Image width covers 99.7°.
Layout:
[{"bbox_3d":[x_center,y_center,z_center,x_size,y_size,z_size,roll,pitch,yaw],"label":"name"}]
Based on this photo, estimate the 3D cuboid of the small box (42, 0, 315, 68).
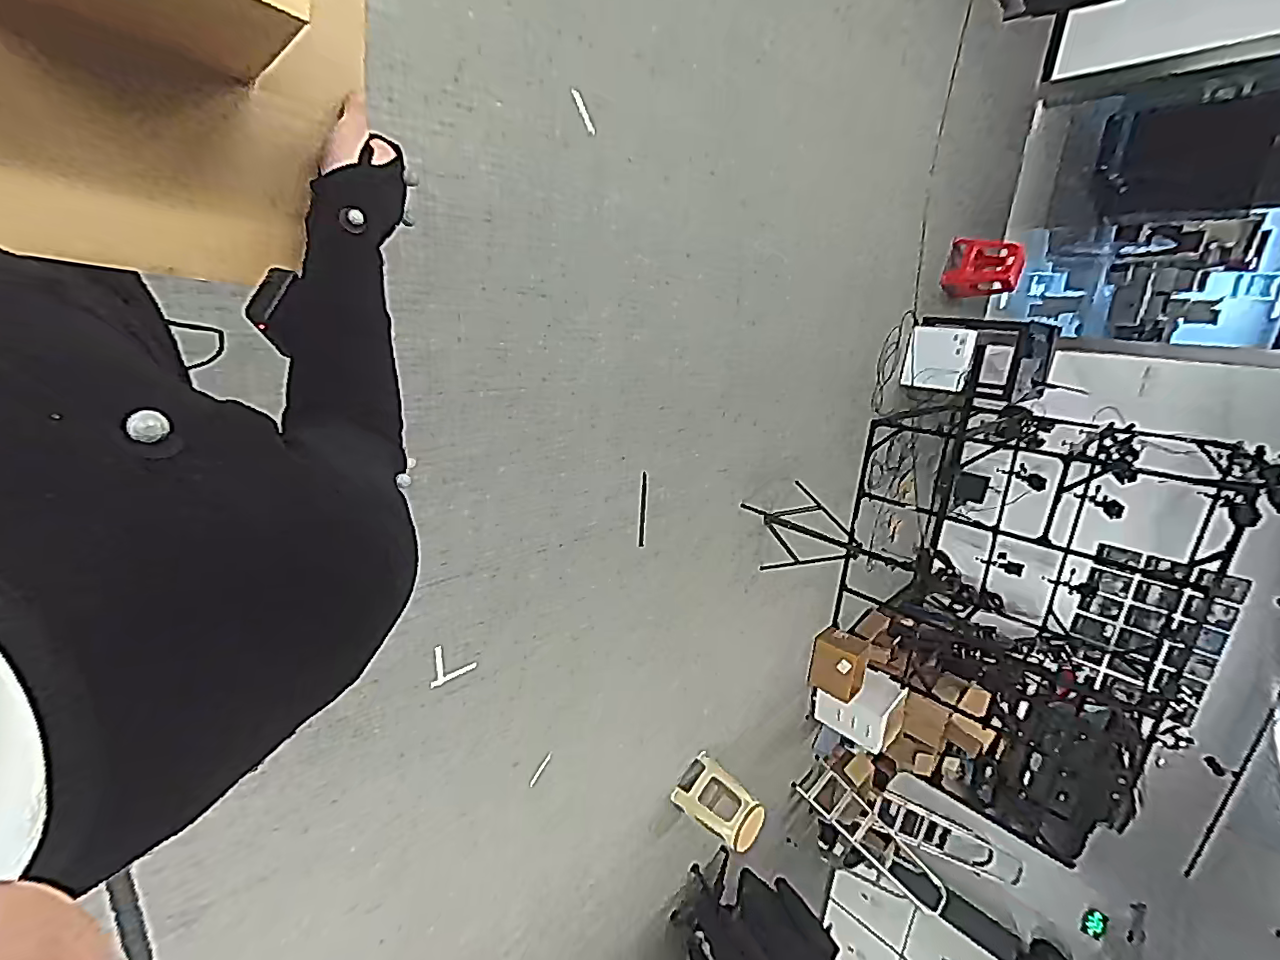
[{"bbox_3d":[-0.321,-0.391,0.332,0.179,0.176,0.168,-5,109,-45],"label":"small box"}]
